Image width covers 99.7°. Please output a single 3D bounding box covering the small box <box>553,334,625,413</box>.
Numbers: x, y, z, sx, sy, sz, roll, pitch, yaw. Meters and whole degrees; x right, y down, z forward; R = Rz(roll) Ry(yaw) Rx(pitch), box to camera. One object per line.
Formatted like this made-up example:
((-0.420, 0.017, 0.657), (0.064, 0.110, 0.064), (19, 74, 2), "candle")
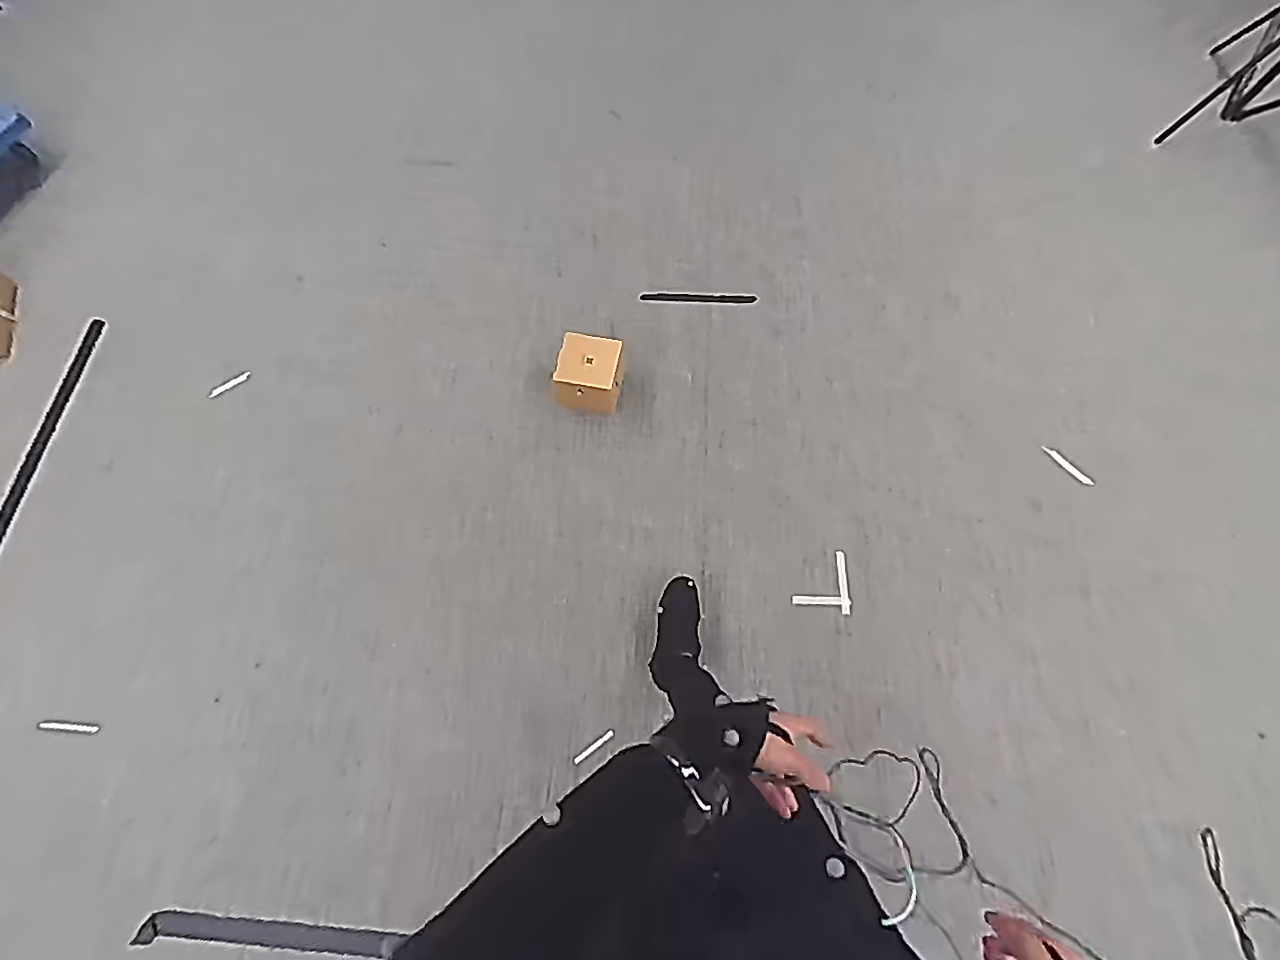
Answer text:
((-0.147, -0.318, 1.643), (0.179, 0.176, 0.168), (10, 72, 5), "small box")
